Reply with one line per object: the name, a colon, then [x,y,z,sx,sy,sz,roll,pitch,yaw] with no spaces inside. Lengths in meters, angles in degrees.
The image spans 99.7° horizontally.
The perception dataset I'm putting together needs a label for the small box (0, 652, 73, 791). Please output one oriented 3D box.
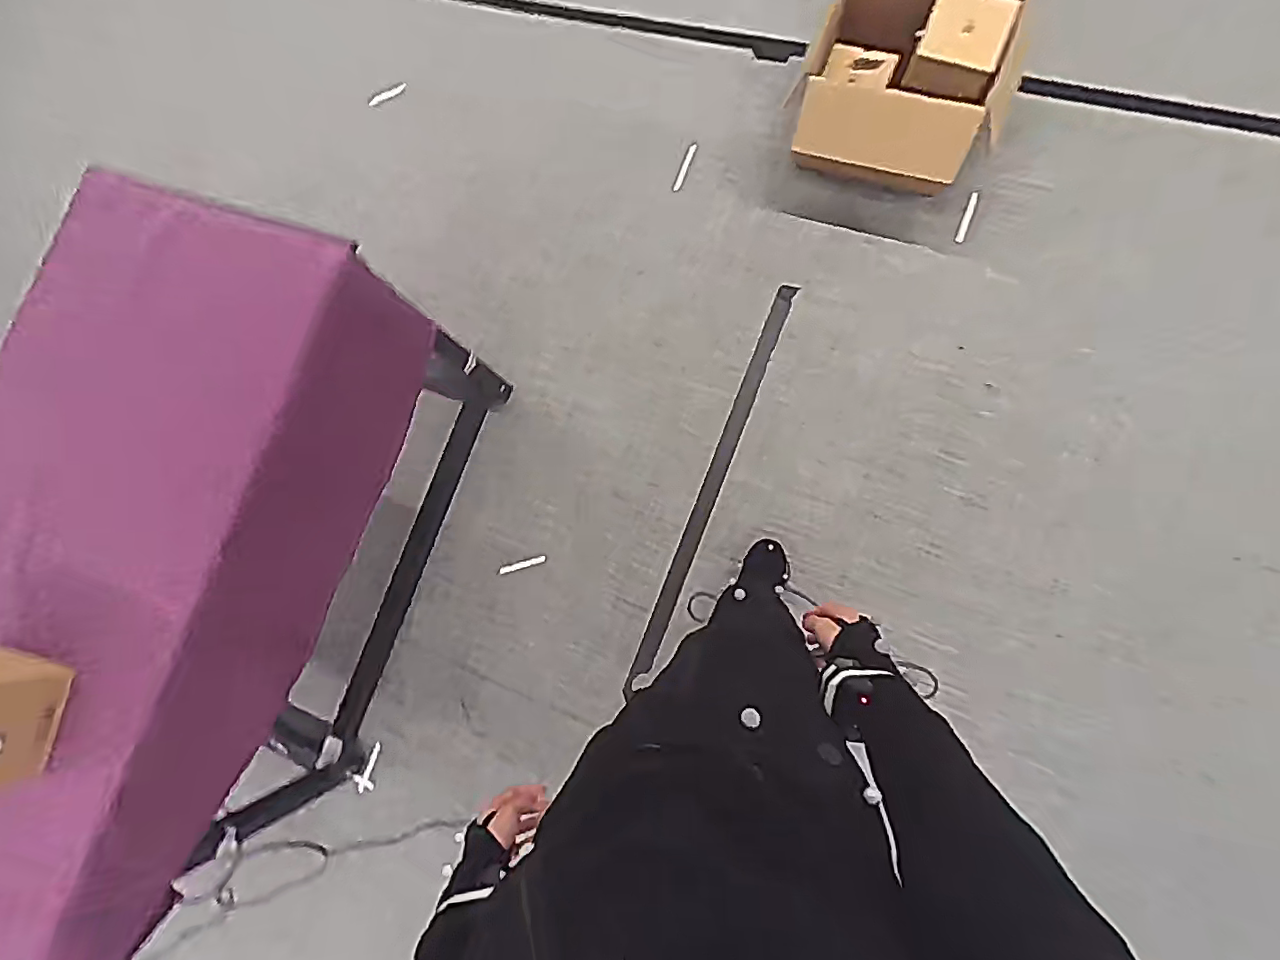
small box: [-0.993,0.356,0.777,0.179,0.176,0.168,11,82,11]
